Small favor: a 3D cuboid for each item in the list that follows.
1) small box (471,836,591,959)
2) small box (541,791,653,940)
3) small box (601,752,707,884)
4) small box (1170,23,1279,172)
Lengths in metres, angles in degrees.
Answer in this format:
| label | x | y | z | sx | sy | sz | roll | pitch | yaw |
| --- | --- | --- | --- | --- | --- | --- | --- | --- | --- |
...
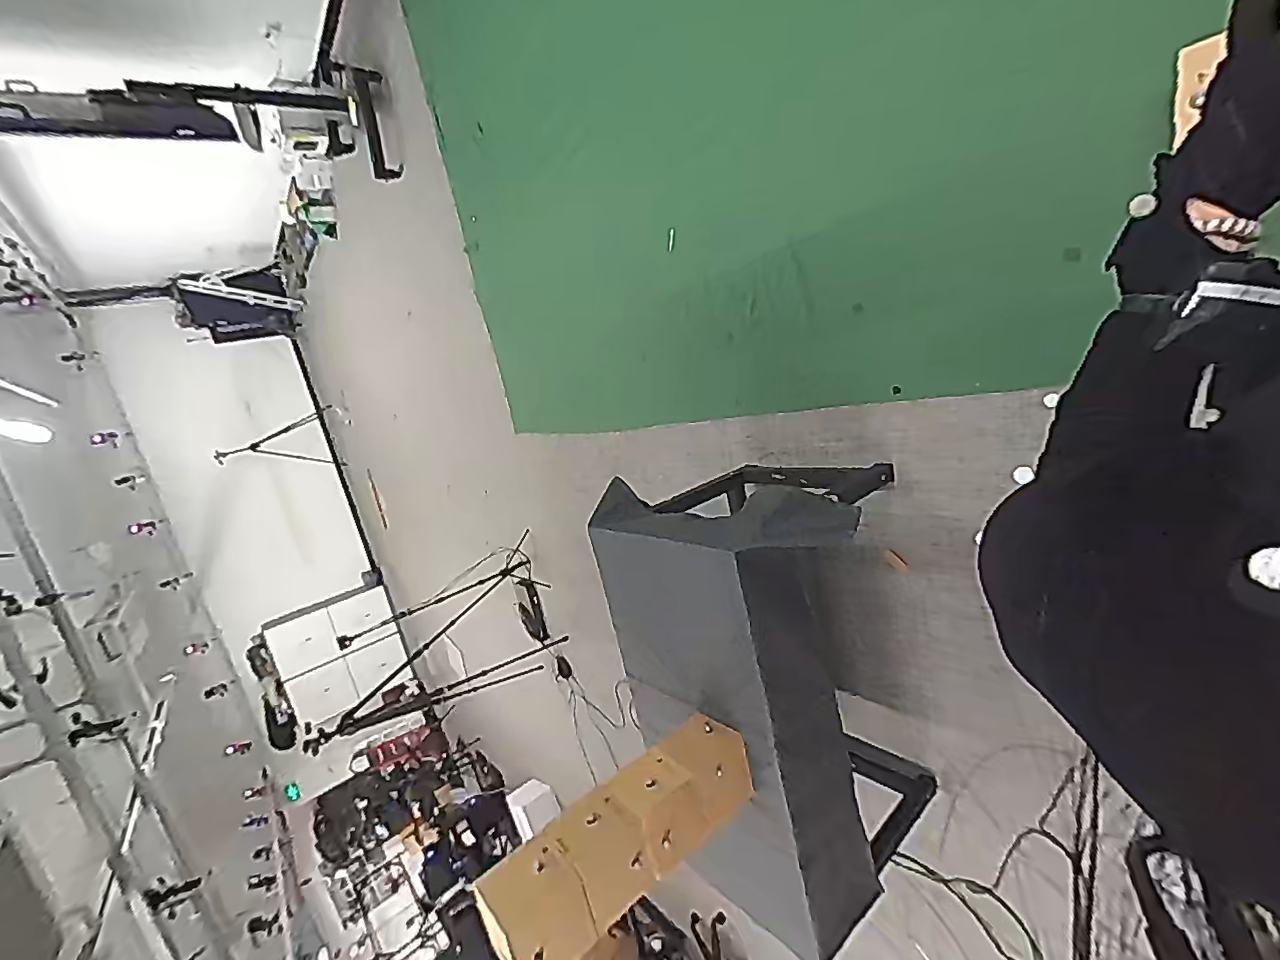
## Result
| label | x | y | z | sx | sy | sz | roll | pitch | yaw |
| --- | --- | --- | --- | --- | --- | --- | --- | --- | --- |
| small box | -0.220 | 0.895 | 1.114 | 0.168 | 0.176 | 0.179 | 0 | 106 | 52 |
| small box | -0.093 | 0.843 | 1.206 | 0.168 | 0.176 | 0.179 | 3 | 108 | 53 |
| small box | 0.035 | 0.794 | 1.295 | 0.168 | 0.176 | 0.179 | 0 | 106 | 53 |
| small box | 0.995 | -0.615 | 0.871 | 0.179 | 0.176 | 0.168 | 8 | 112 | 52 |
